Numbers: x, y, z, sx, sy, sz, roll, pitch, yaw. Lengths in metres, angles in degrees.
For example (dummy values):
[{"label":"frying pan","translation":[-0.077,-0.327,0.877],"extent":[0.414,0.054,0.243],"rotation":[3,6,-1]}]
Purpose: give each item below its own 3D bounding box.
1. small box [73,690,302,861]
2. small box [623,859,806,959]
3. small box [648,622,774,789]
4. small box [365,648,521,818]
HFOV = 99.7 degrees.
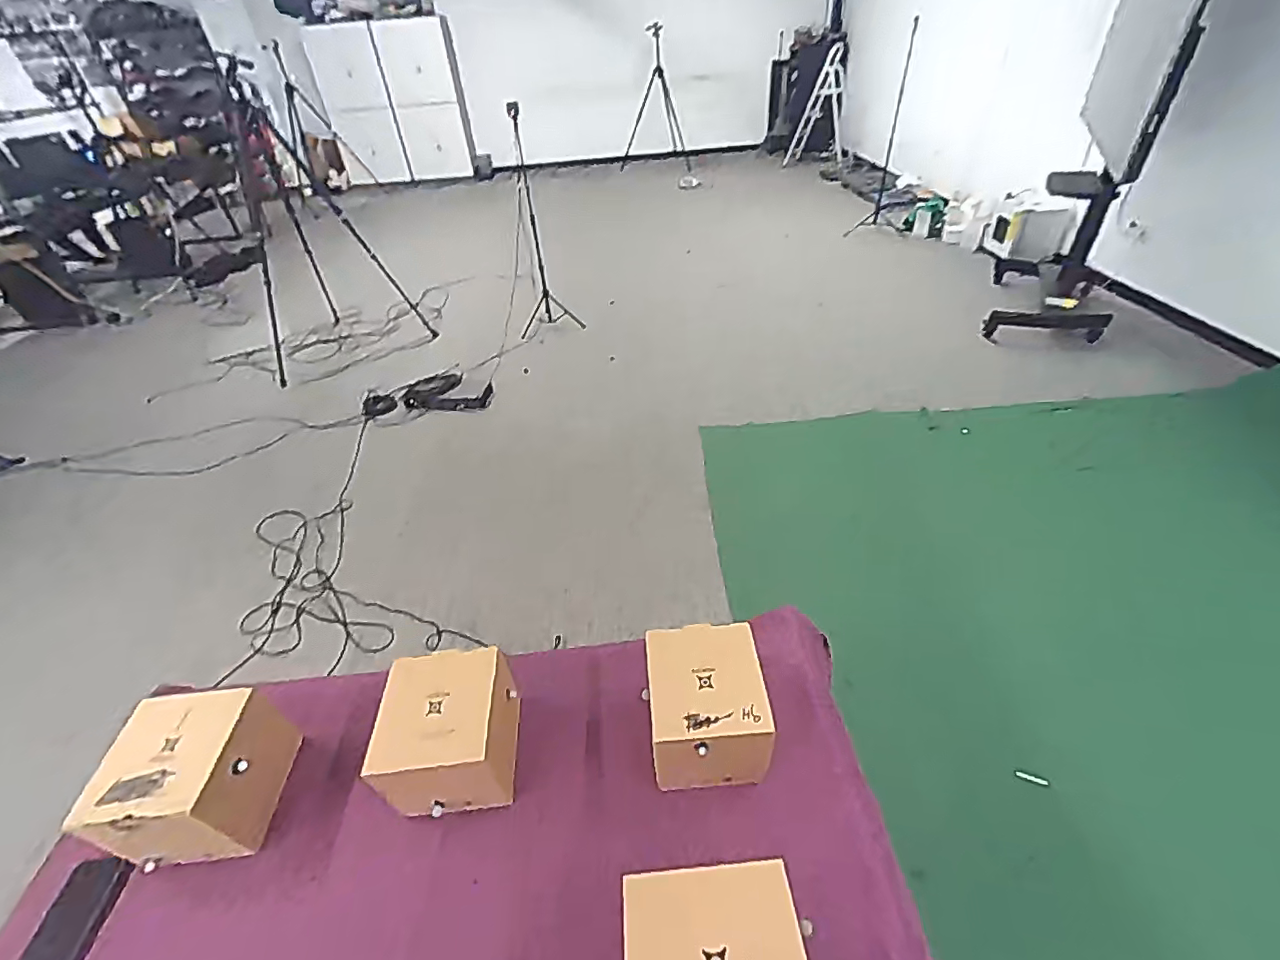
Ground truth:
[{"label":"small box","translation":[-0.646,0.443,0.806],"extent":[0.168,0.176,0.179],"rotation":[-6,40,-1]},{"label":"small box","translation":[0.074,0.501,0.513],"extent":[0.168,0.176,0.179],"rotation":[-7,32,3]},{"label":"small box","translation":[0.101,0.345,0.832],"extent":[0.168,0.176,0.179],"rotation":[-6,40,1]},{"label":"small box","translation":[-0.286,0.387,0.832],"extent":[0.168,0.176,0.179],"rotation":[-7,41,0]}]
